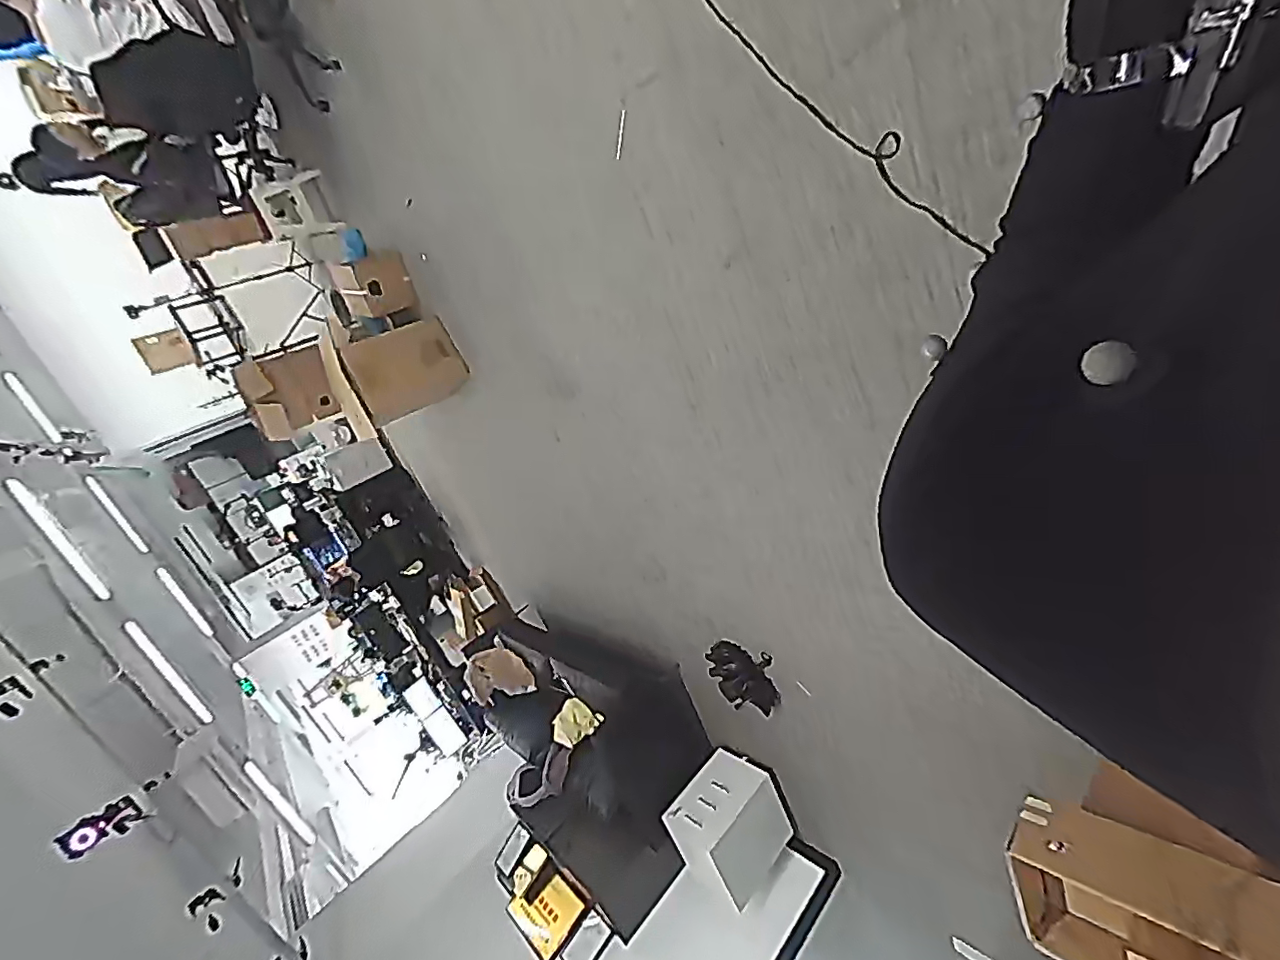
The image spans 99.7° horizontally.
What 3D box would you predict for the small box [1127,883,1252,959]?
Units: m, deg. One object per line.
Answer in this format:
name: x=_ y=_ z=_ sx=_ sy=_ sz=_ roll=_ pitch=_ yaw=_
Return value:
small box: x=1.184 y=1.033 z=1.161 sx=0.168 sy=0.176 sz=0.179 roll=-6 pitch=114 yaw=53
